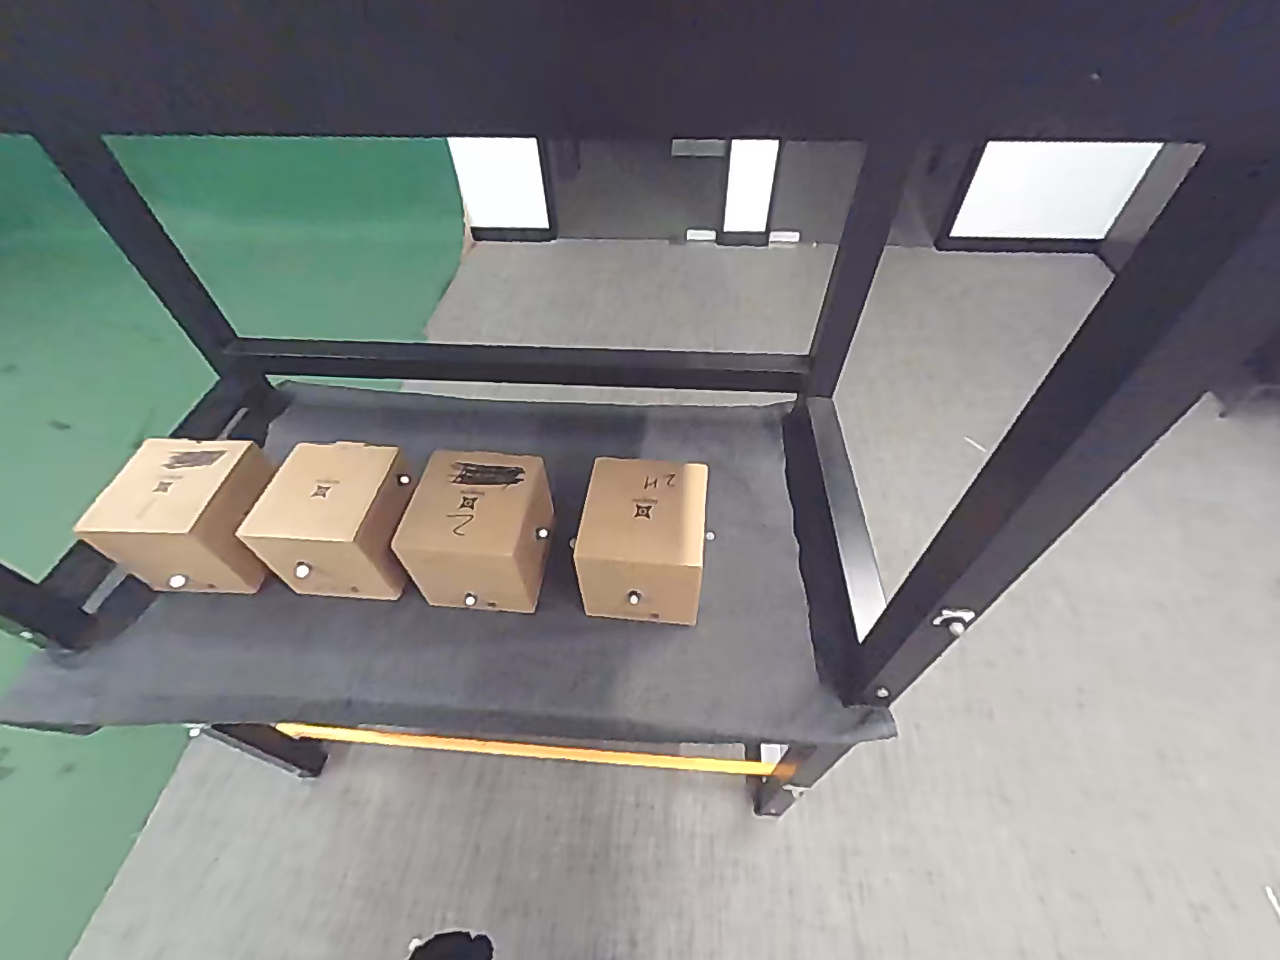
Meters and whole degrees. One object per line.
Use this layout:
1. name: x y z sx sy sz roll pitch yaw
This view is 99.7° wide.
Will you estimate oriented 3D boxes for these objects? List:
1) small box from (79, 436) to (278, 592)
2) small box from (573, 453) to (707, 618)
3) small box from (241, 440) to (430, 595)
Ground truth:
1. small box: -0.673 0.053 0.840 0.168 0.176 0.179 1 50 2
2. small box: 0.007 0.084 0.795 0.168 0.176 0.179 5 49 5
3. small box: -0.446 0.061 0.831 0.168 0.176 0.179 3 49 3
